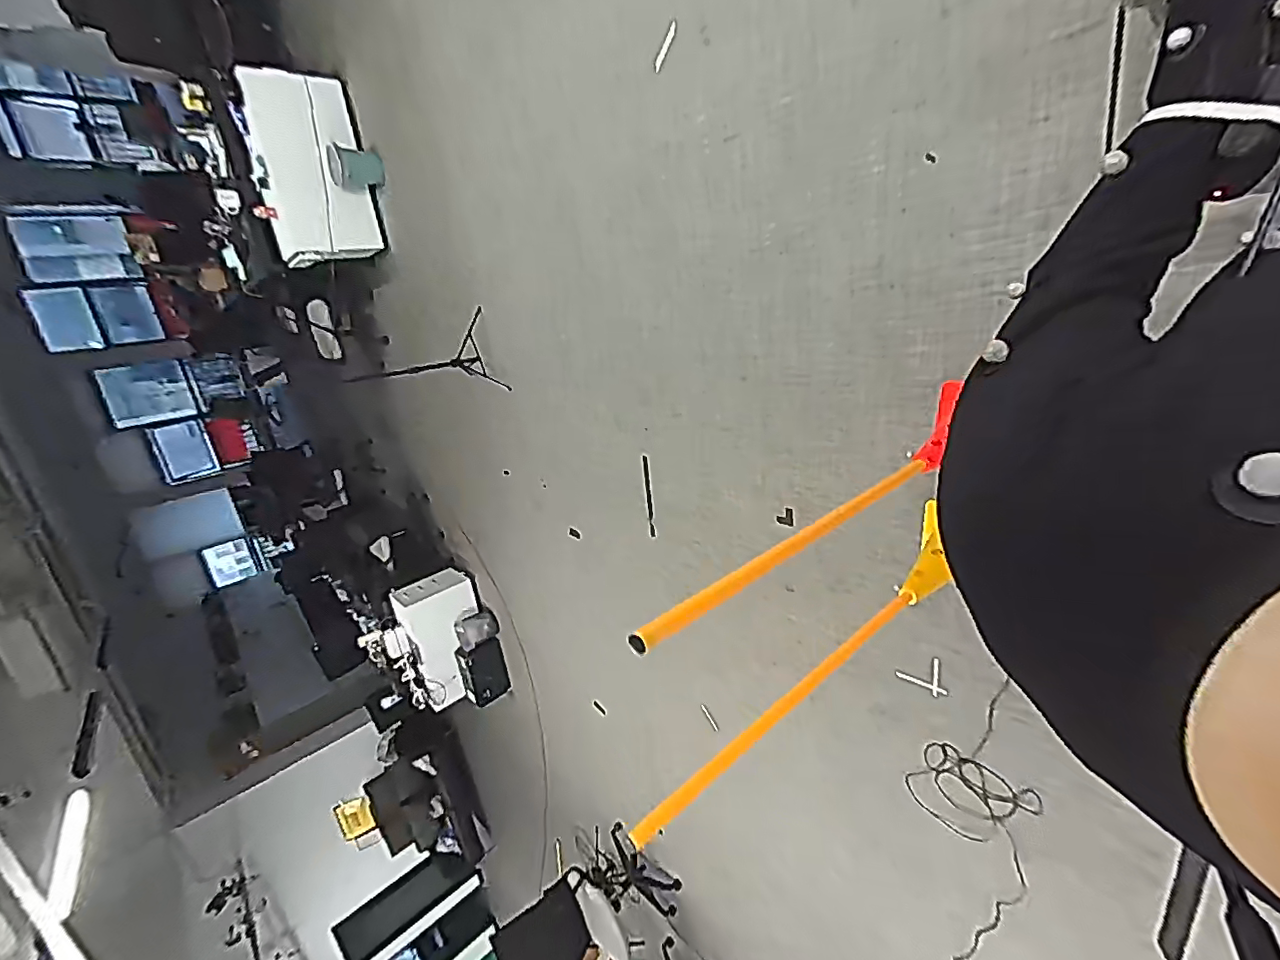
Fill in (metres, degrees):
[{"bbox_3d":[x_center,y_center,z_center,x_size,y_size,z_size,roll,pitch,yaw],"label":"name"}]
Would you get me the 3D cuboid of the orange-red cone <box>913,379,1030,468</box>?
[{"bbox_3d":[0.718,-0.096,1.244,0.198,0.360,0.199,22,122,42],"label":"orange-red cone"}]
